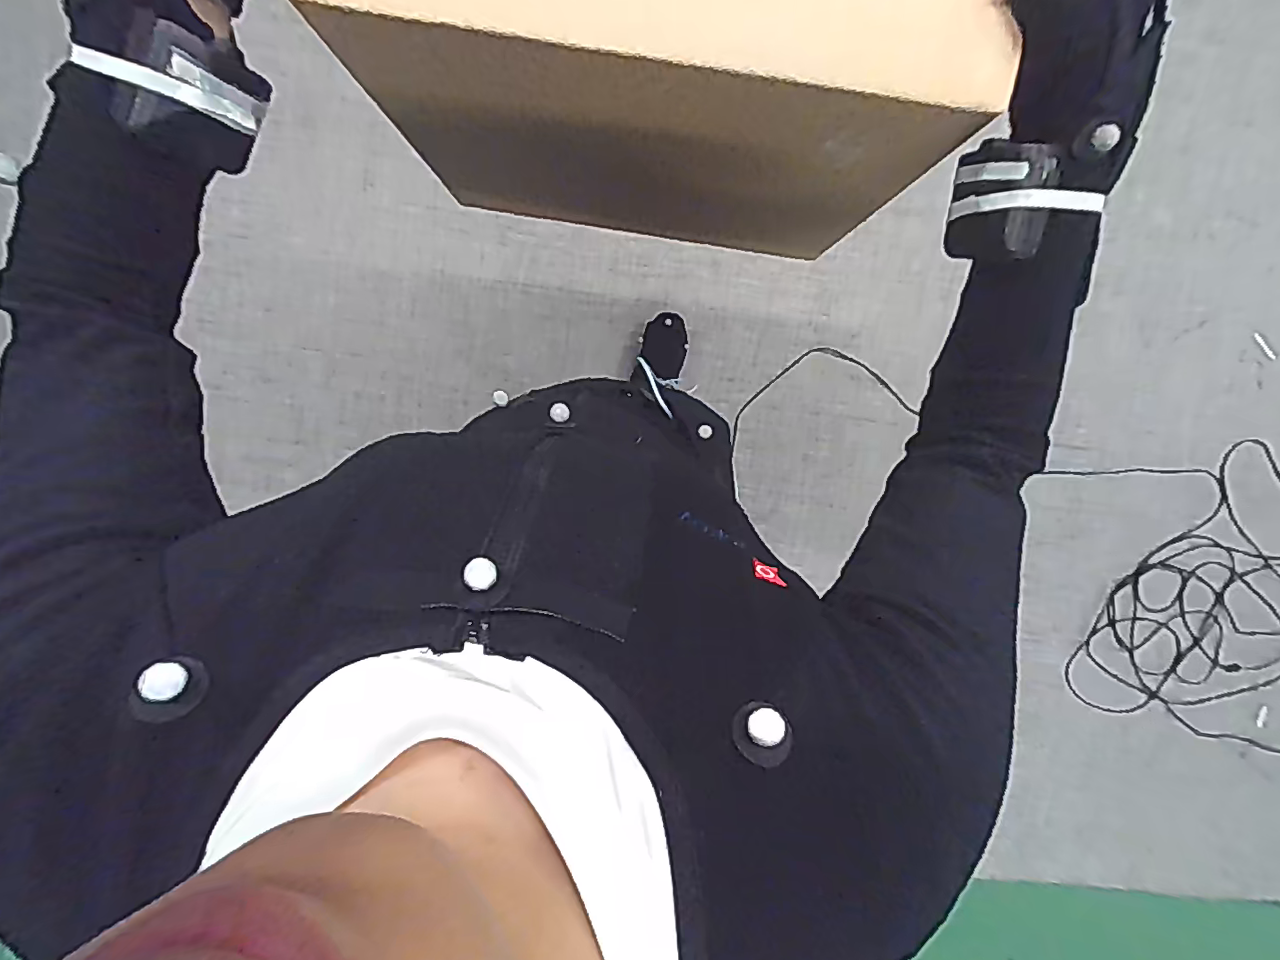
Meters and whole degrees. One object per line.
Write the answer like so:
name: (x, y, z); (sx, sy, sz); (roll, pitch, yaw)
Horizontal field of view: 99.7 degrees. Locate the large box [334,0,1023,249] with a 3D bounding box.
large box: (0.030, -0.412, 0.439); (0.408, 0.320, 0.320); (7, 98, -4)
